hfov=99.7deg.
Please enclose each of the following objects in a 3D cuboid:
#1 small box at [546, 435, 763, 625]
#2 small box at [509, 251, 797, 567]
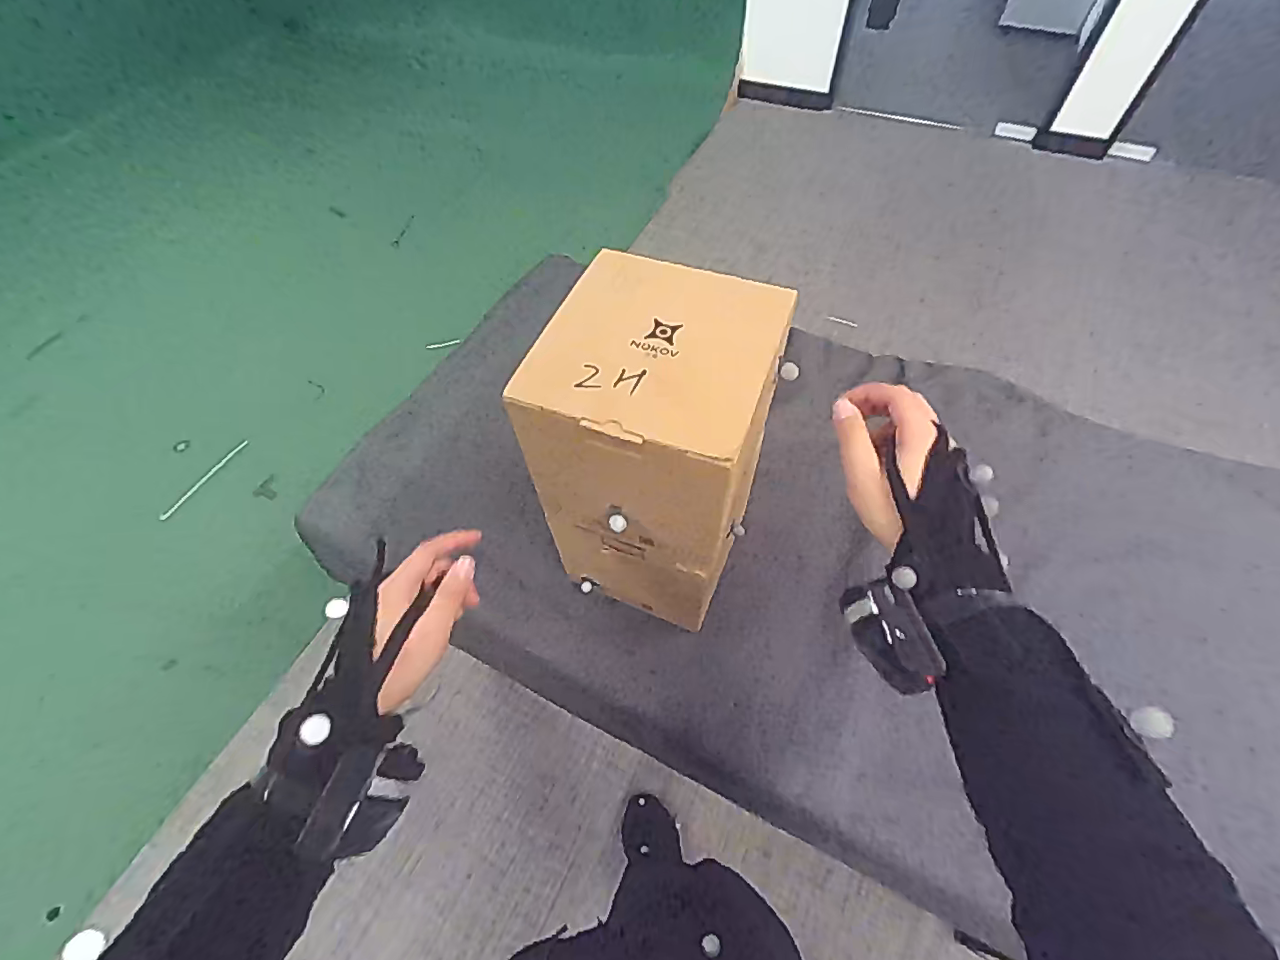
[{"bbox_3d":[0.022,0.034,0.595,0.168,0.176,0.179,20,60,14],"label":"small box"},{"bbox_3d":[0.017,-0.056,0.457,0.168,0.176,0.179,17,60,14],"label":"small box"}]
